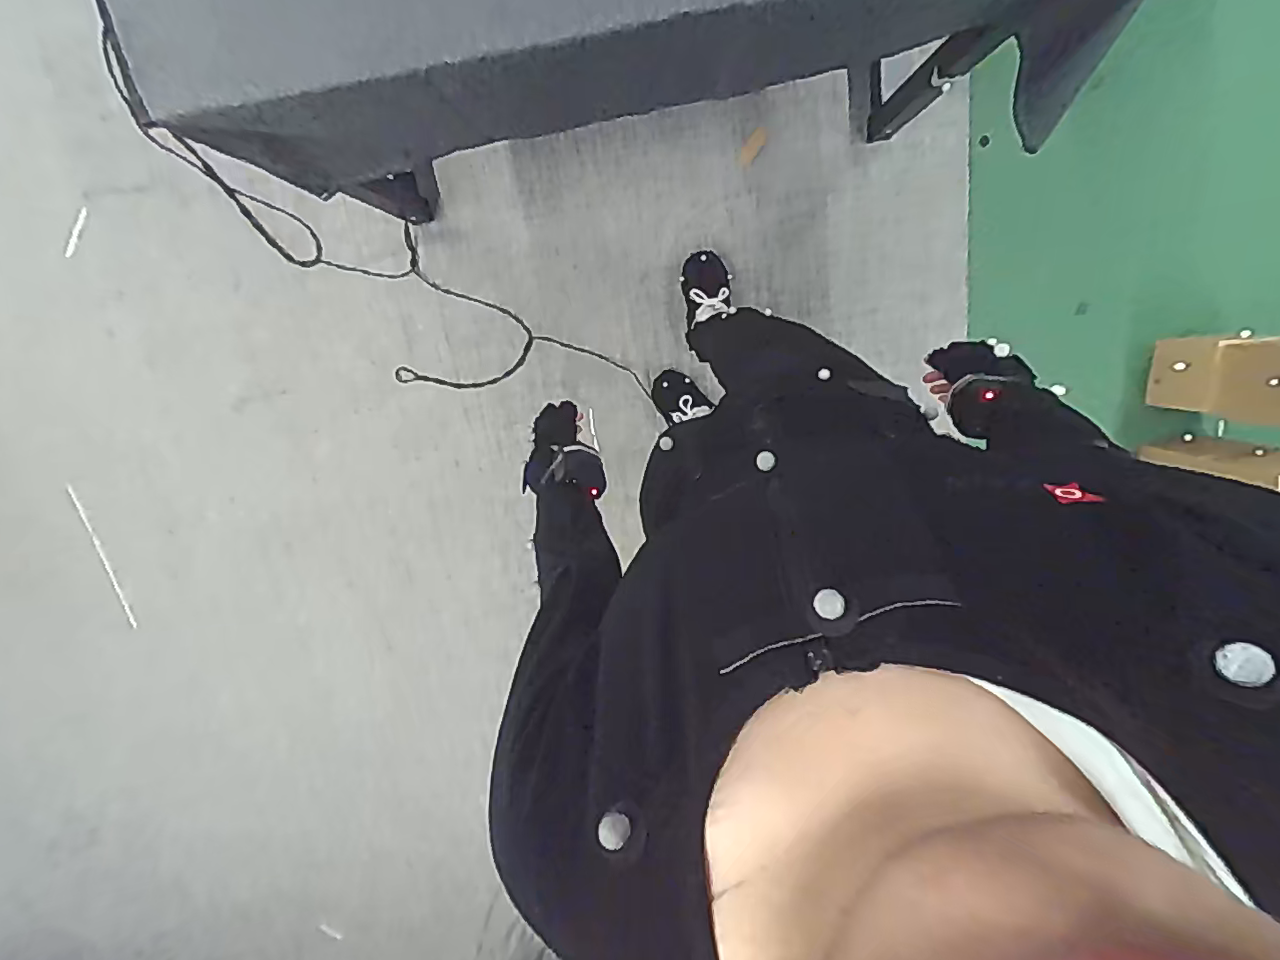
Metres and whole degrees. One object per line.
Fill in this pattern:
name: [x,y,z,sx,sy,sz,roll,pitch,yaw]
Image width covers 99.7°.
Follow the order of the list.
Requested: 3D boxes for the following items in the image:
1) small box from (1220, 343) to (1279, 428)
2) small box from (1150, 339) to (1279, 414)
small box: [1.405,-0.203,1.148,0.168,0.176,0.179,-4,104,3]
small box: [1.399,-0.251,1.307,0.179,0.176,0.168,-3,104,2]
